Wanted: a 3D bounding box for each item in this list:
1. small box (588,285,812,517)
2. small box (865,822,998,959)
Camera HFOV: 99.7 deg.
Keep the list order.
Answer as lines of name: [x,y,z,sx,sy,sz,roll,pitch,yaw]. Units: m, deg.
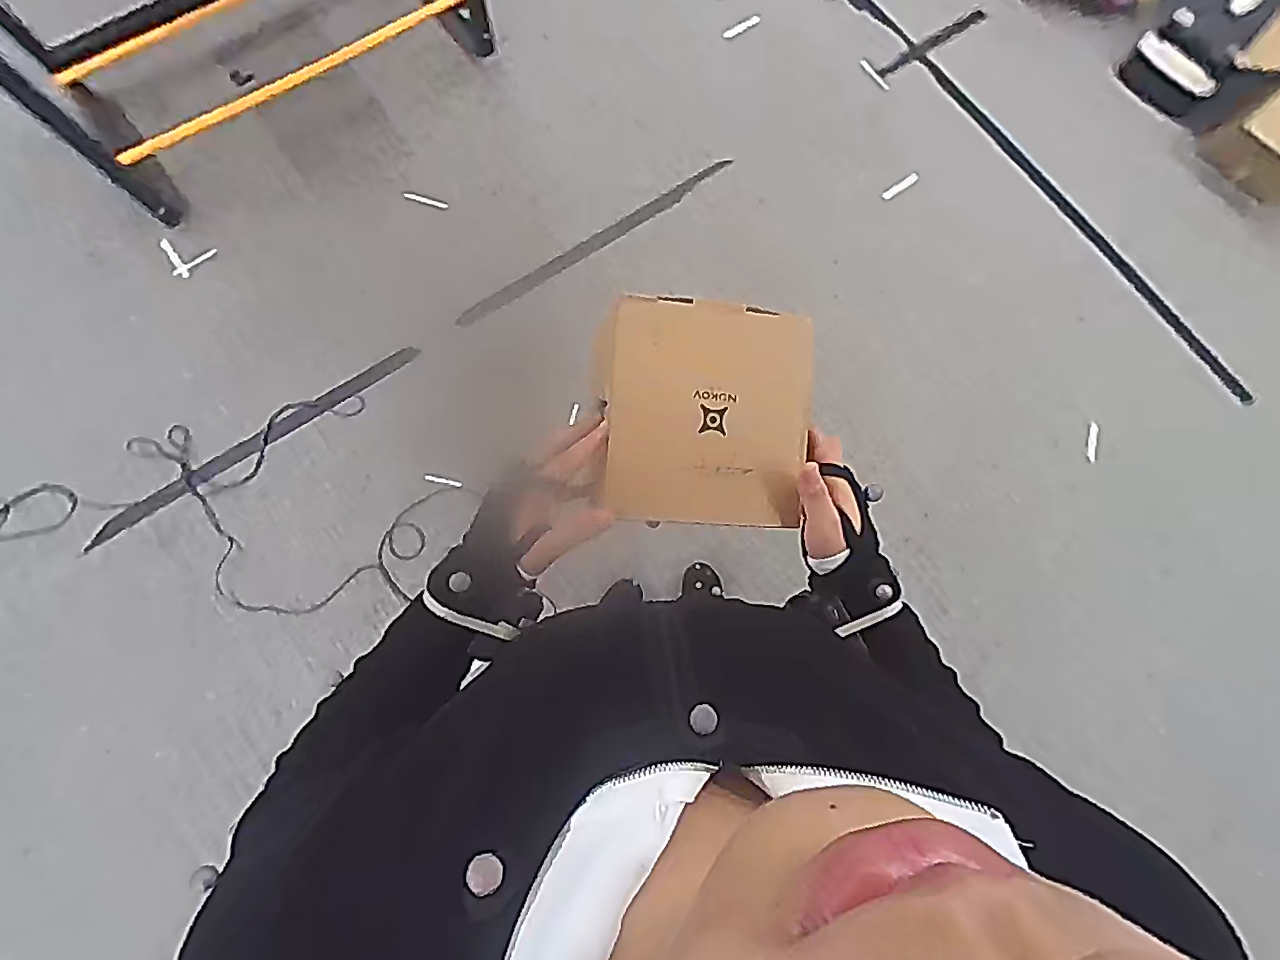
small box: [0.043,-0.062,0.509,0.168,0.176,0.179,3,91,-11]
small box: [0.503,0.698,0.861,0.168,0.176,0.179,-36,80,-11]
